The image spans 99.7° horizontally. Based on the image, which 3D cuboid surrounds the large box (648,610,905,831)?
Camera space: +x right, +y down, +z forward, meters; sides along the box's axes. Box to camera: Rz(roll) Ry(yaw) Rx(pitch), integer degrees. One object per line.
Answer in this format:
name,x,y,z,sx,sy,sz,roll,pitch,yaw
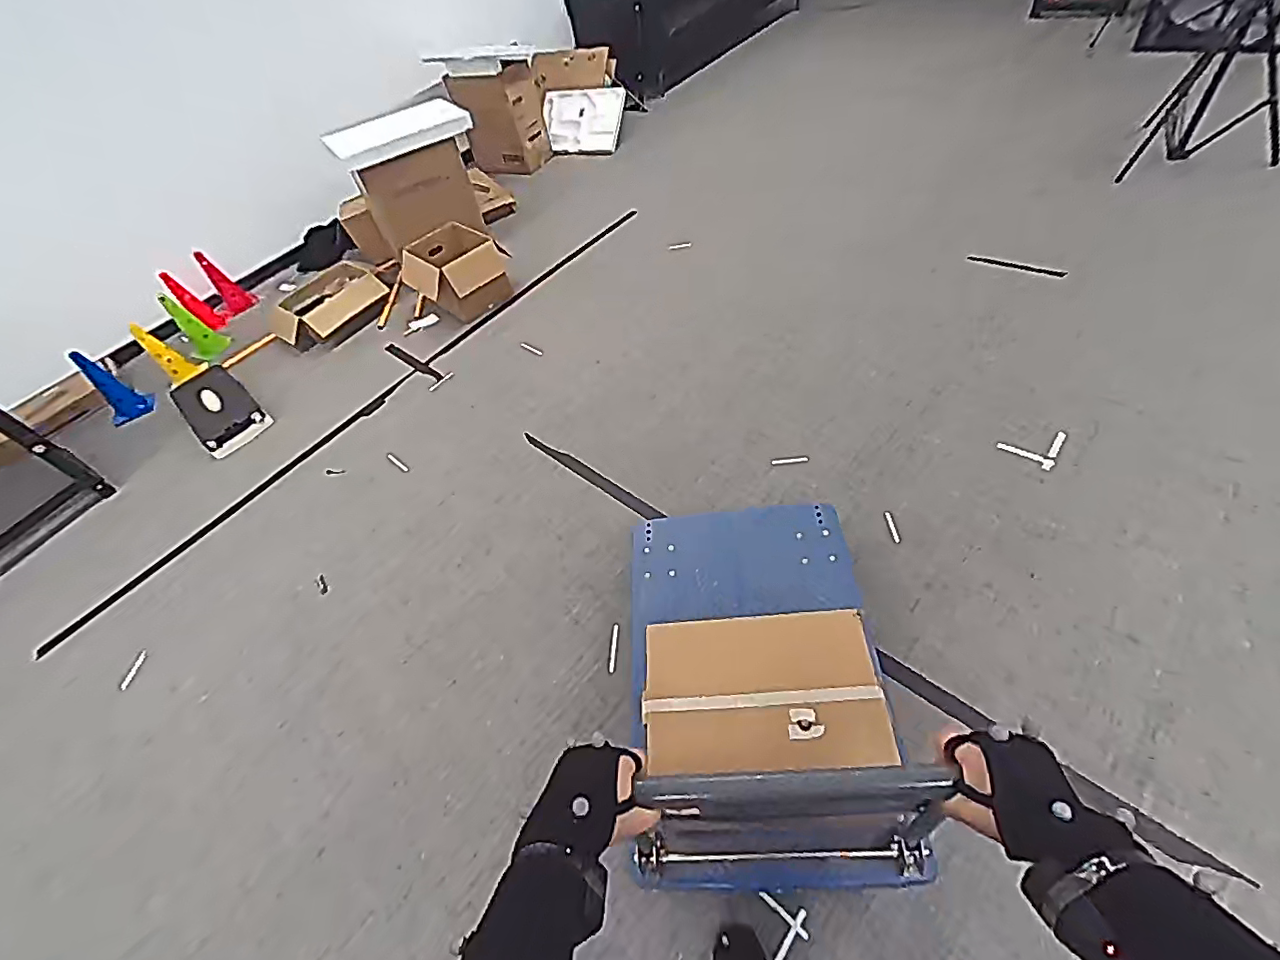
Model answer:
large box,0.236,0.480,1.061,0.408,0.320,0.320,-6,51,7
